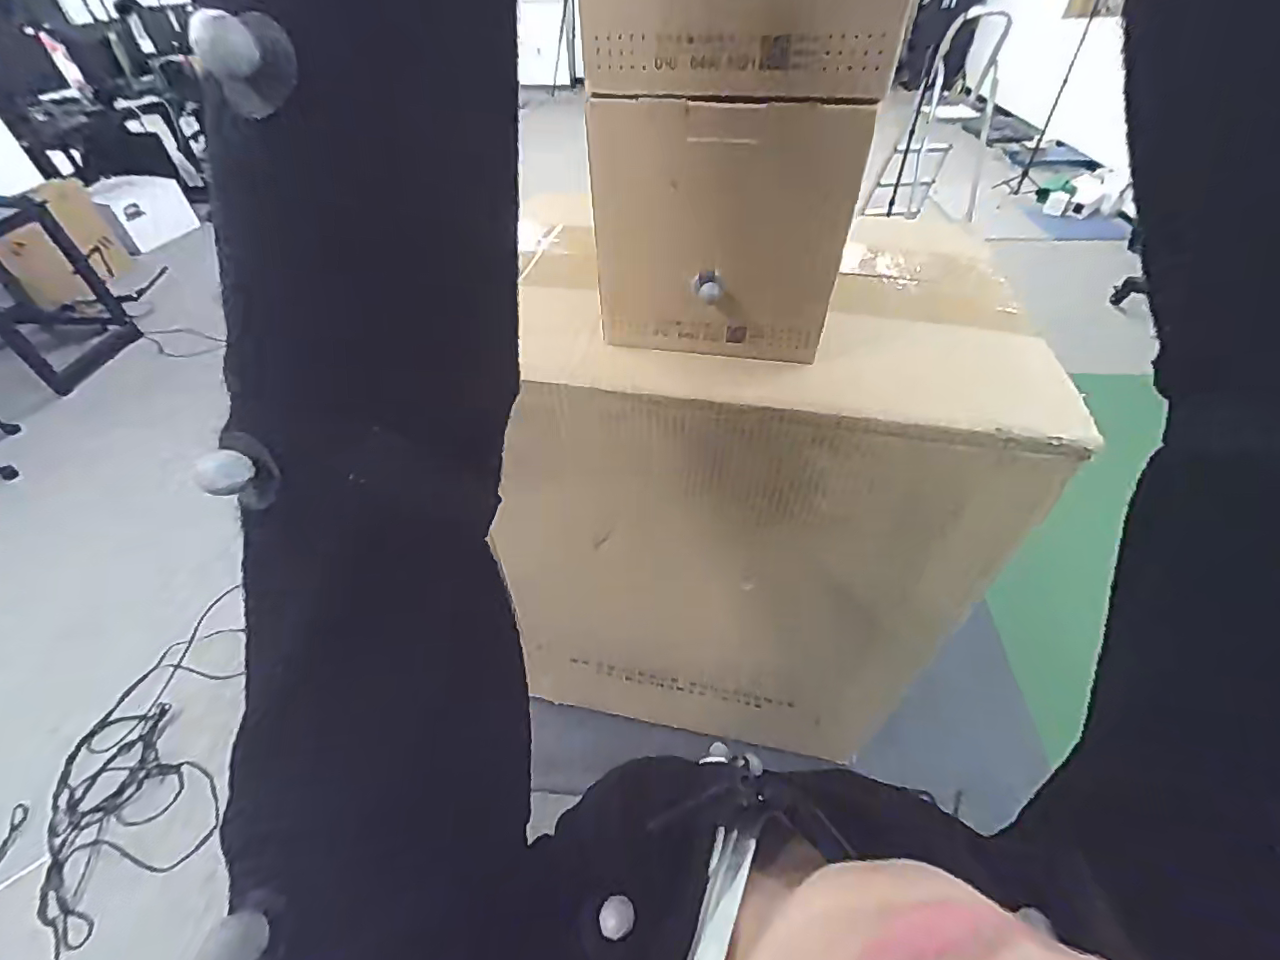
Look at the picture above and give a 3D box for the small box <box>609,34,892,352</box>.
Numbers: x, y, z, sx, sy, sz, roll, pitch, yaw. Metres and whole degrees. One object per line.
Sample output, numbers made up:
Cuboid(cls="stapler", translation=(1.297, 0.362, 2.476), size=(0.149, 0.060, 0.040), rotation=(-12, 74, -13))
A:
Cuboid(cls="small box", translation=(0.077, -0.225, 0.423), size=(0.168, 0.176, 0.179), rotation=(8, 48, 8))
